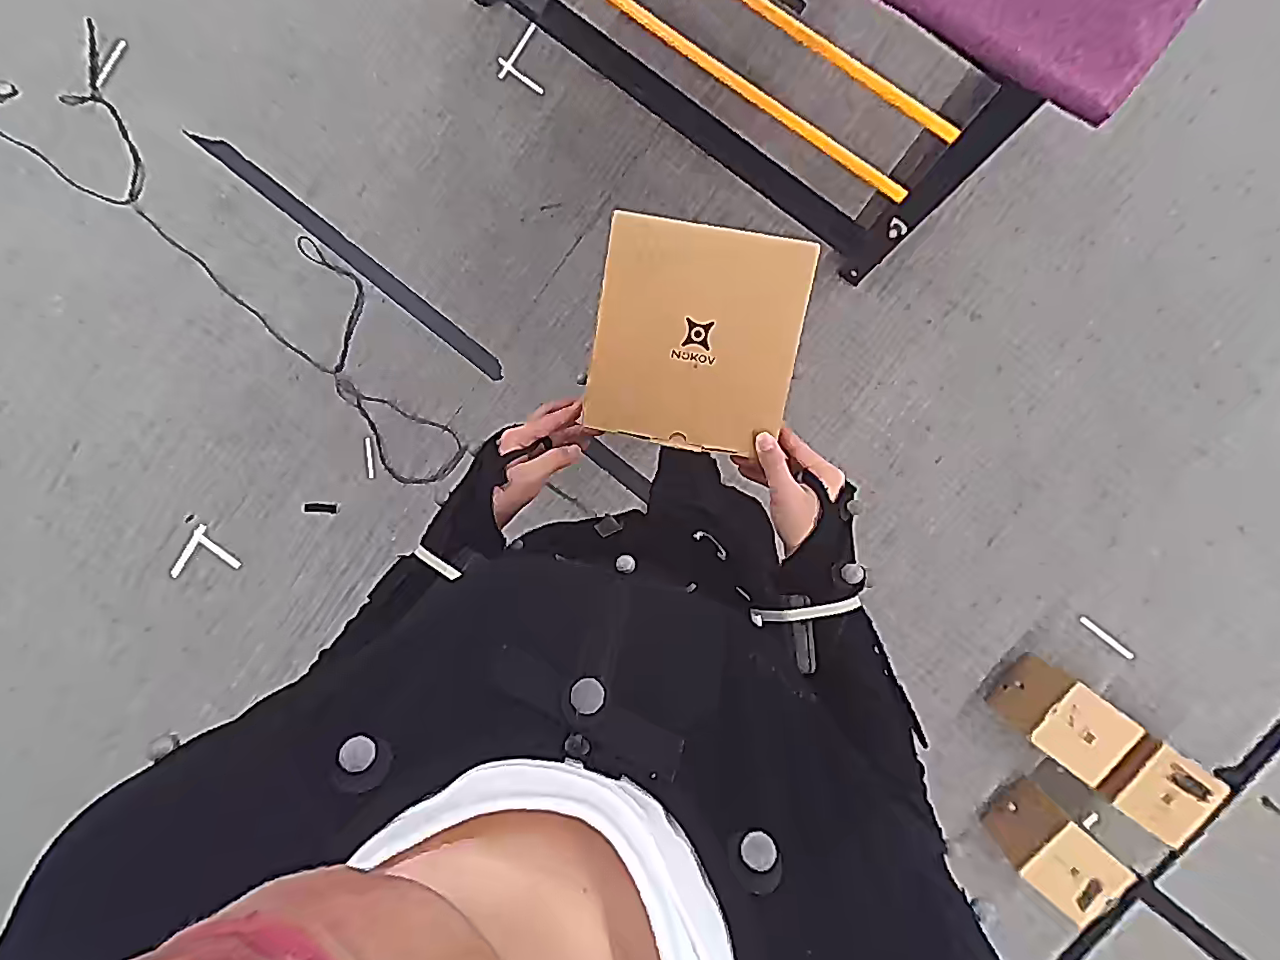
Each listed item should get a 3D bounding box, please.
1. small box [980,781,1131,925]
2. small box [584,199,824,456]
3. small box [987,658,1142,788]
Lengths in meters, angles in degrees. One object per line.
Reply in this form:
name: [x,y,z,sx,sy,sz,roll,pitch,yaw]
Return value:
small box: [0.941,0.844,1.243,0.179,0.176,0.168,40,96,2]
small box: [0.049,-0.132,0.507,0.168,0.176,0.179,10,101,0]
small box: [0.945,0.536,1.222,0.179,0.176,0.168,37,95,2]
